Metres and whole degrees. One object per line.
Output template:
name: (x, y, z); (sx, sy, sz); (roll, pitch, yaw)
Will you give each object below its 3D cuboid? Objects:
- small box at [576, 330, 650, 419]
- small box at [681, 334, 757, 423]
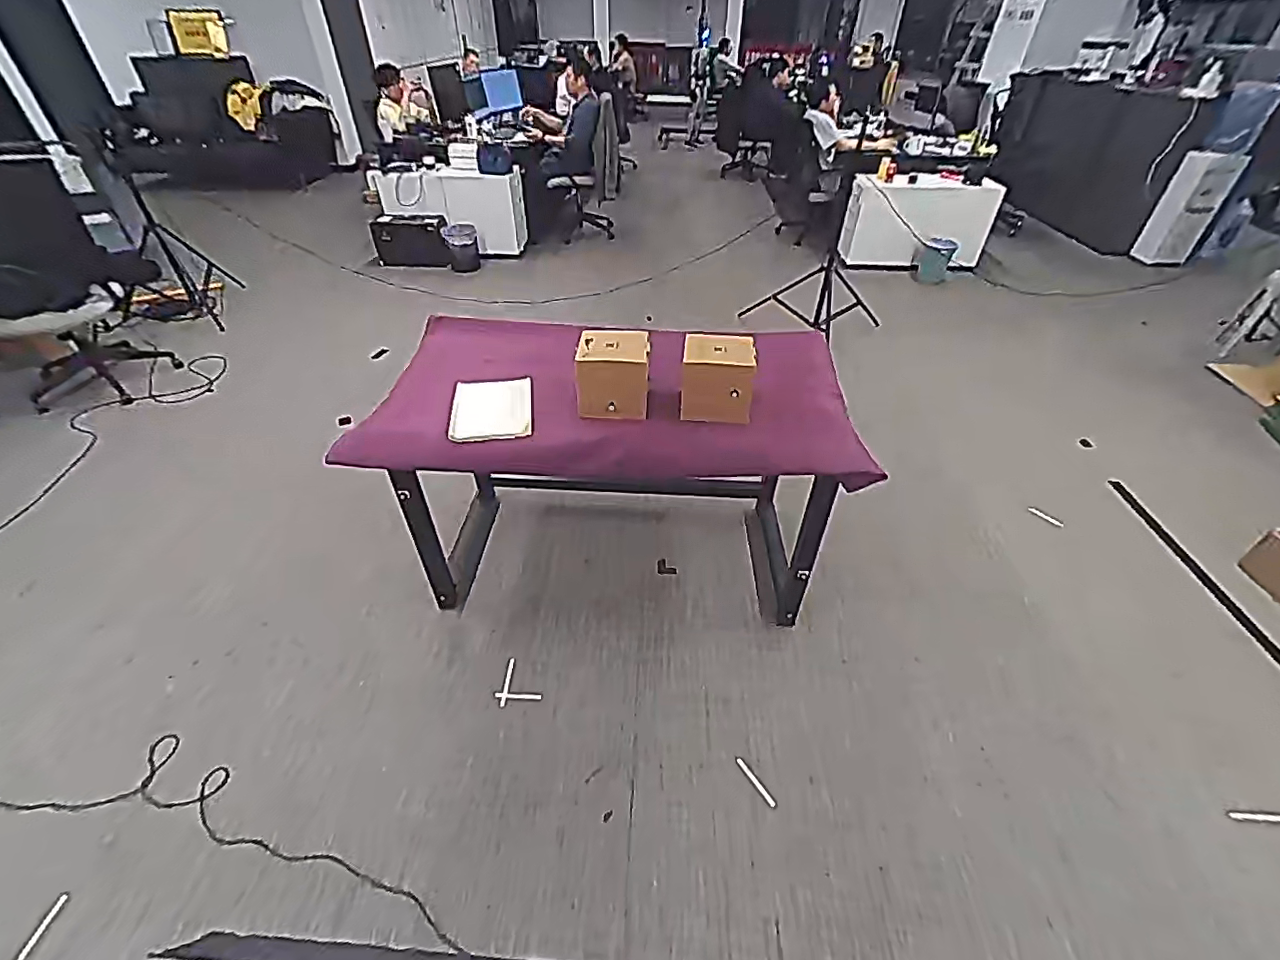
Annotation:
small box: (-0.066, -0.271, 1.402); (0.179, 0.176, 0.168); (2, 40, 1)
small box: (0.200, -0.261, 1.394); (0.179, 0.176, 0.168); (3, 38, 6)
